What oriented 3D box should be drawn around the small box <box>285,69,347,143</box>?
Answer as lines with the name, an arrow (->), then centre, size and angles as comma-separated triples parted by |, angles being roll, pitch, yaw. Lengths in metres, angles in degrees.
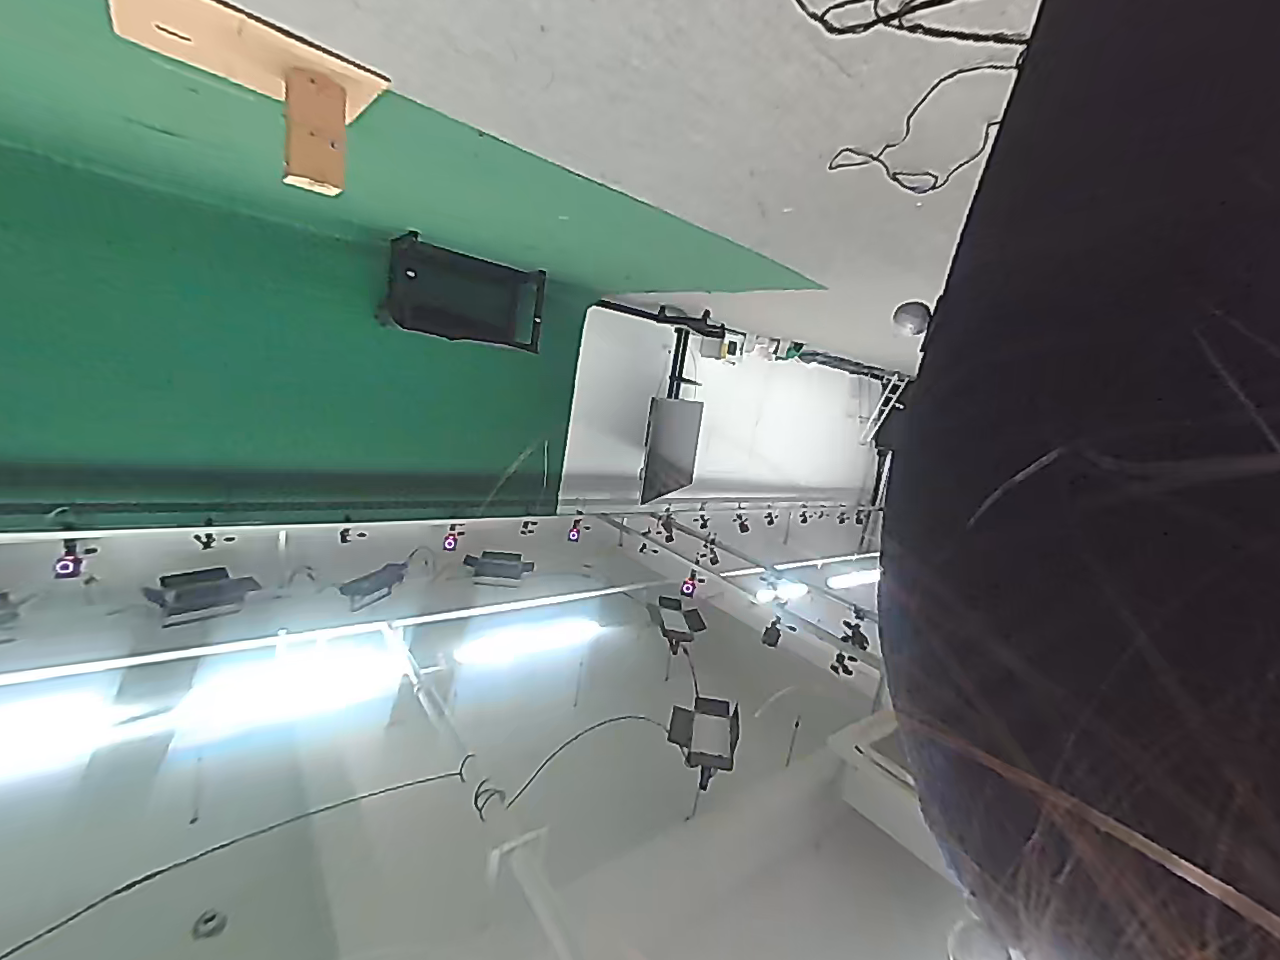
small box -> -1.156, -1.320, 1.930 | 0.168, 0.176, 0.179 | -1, -166, -40

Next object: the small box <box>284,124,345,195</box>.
small box -> -1.181, -1.161, 1.962 | 0.168, 0.176, 0.179 | -1, -165, -42
